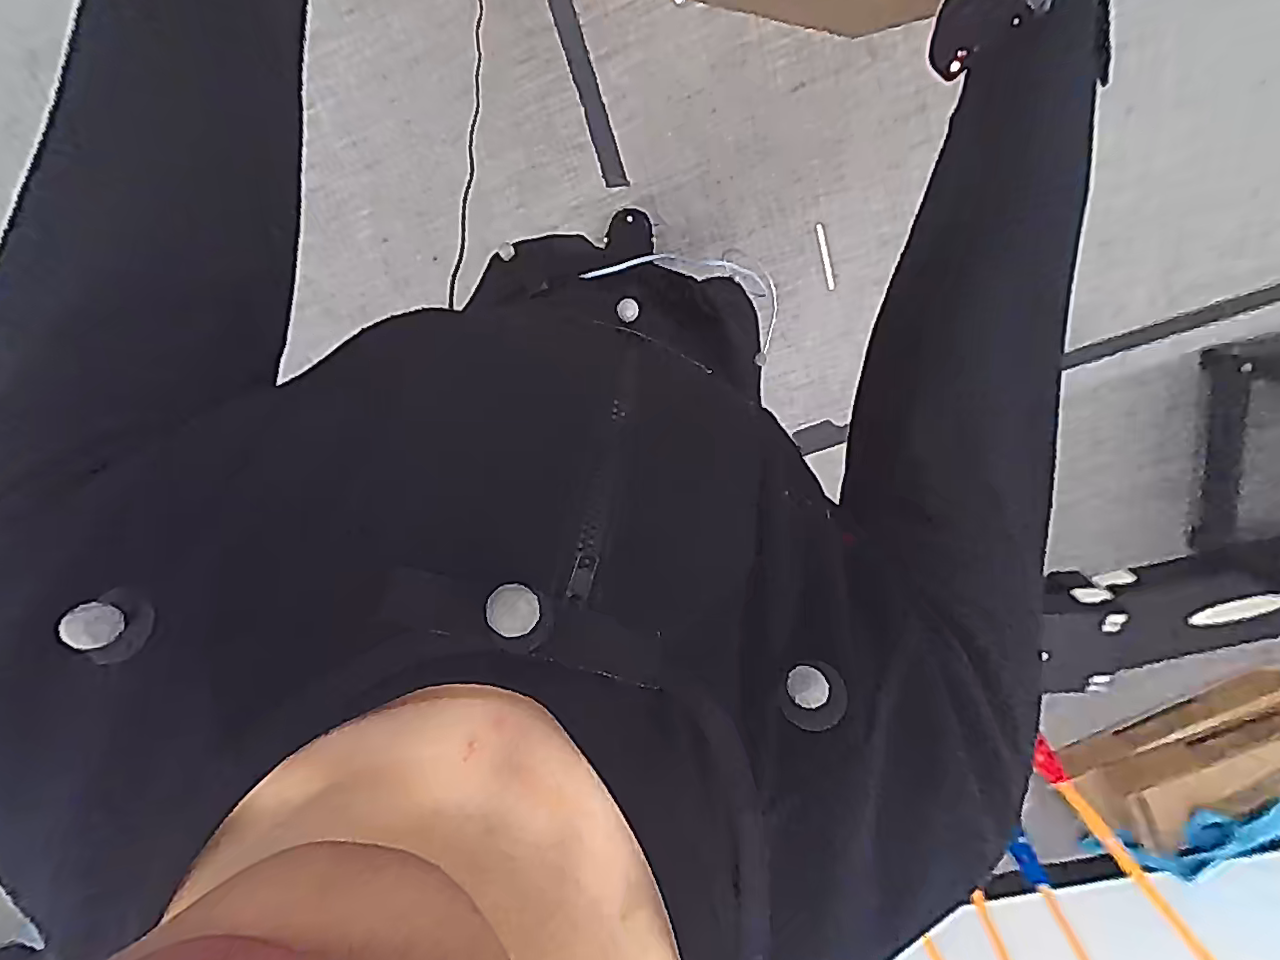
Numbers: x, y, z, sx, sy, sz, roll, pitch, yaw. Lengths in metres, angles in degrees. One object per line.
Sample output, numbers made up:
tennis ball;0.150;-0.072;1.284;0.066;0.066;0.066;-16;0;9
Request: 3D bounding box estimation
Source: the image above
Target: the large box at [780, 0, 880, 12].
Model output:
large box;0.056;-0.573;0.378;0.408;0.320;0.320;10;126;-3
